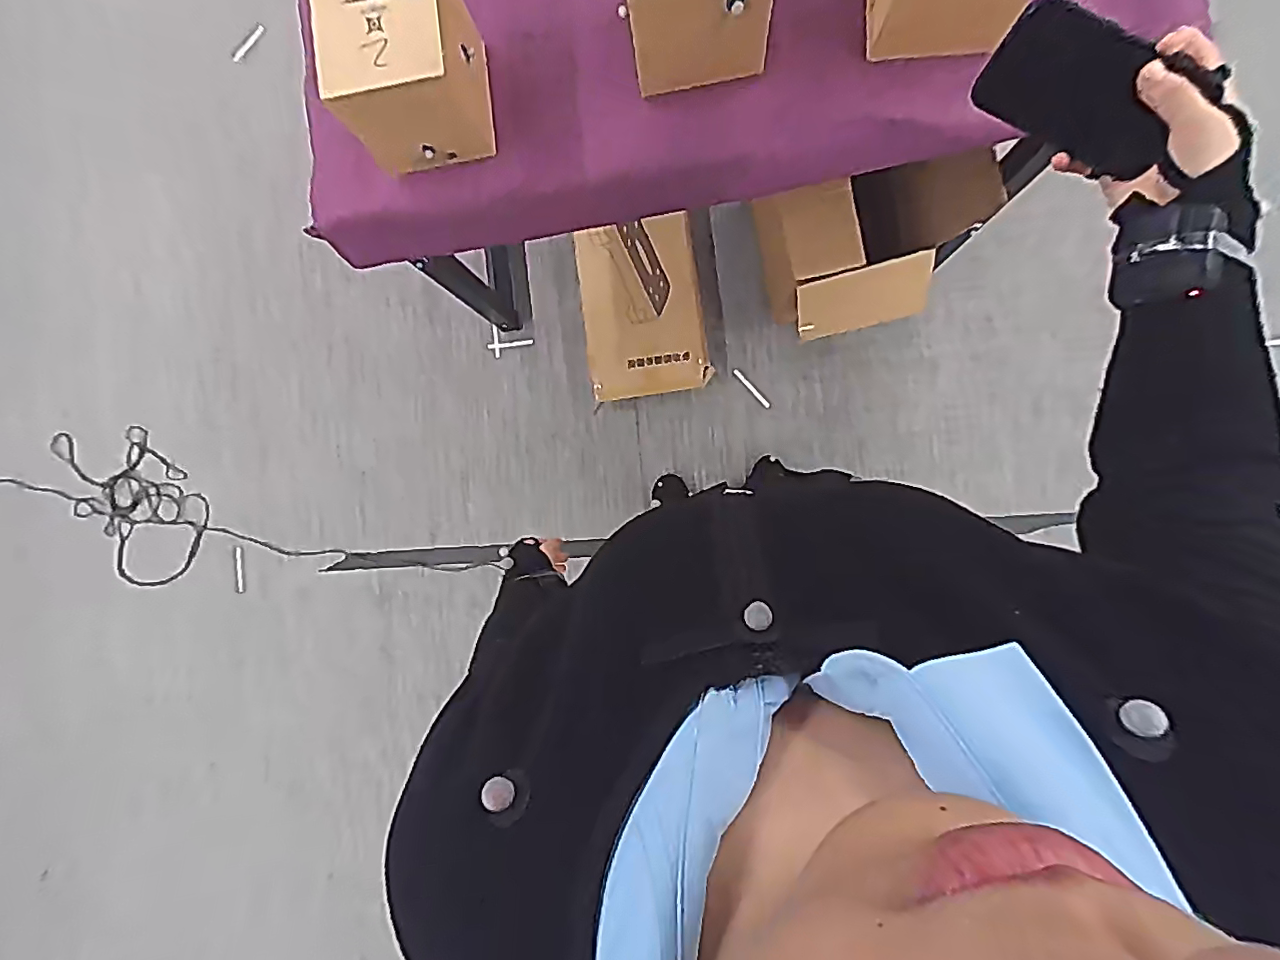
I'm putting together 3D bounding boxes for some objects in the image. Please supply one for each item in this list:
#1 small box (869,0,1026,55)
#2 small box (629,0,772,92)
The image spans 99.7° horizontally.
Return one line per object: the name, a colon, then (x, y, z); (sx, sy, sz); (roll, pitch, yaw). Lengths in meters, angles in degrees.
small box: (0.388, -0.660, 0.655); (0.179, 0.176, 0.168); (0, 90, 6)
small box: (0.072, -0.645, 0.689); (0.179, 0.176, 0.168); (-7, 87, 7)
